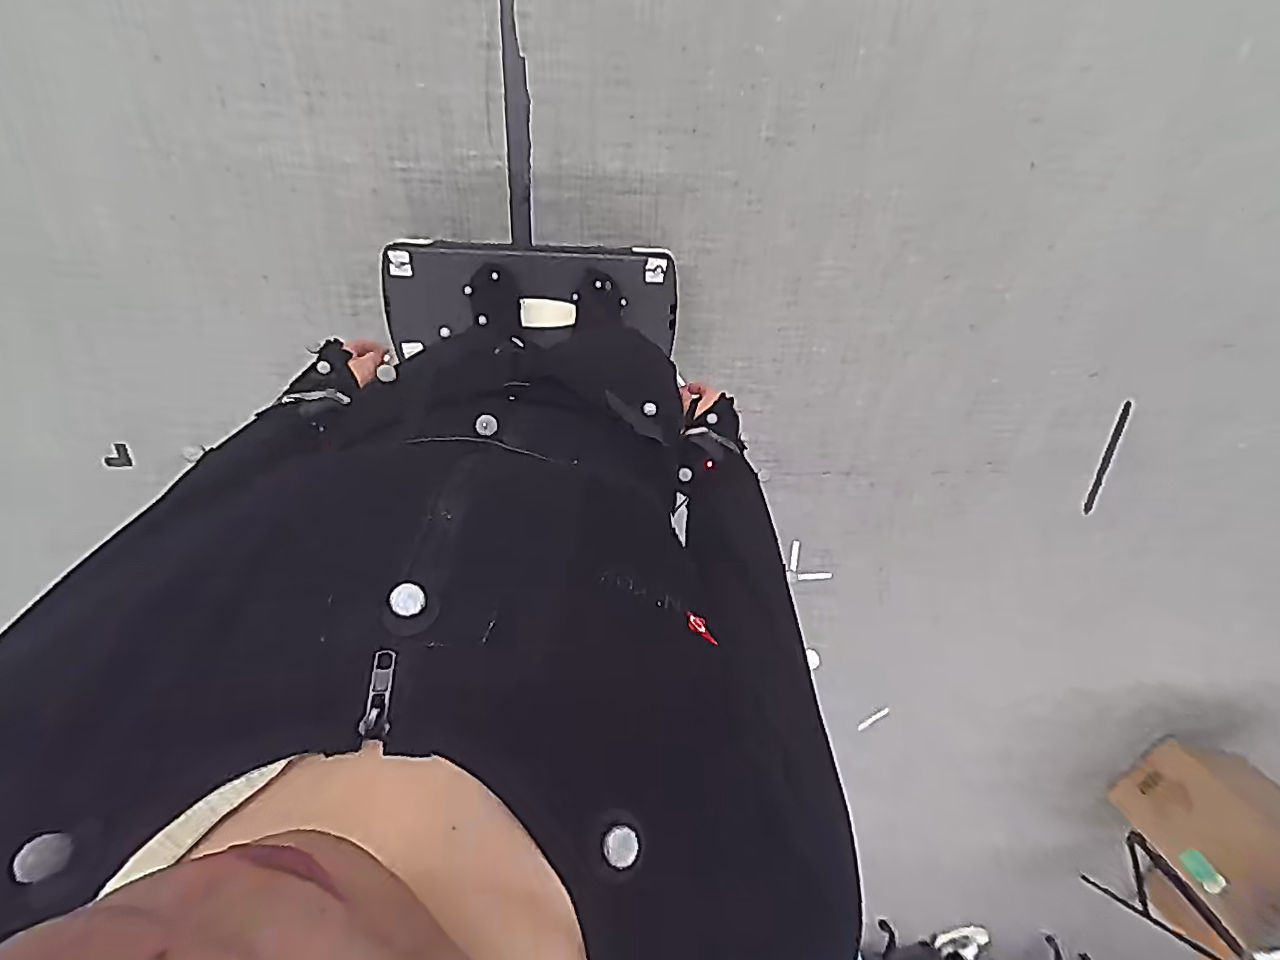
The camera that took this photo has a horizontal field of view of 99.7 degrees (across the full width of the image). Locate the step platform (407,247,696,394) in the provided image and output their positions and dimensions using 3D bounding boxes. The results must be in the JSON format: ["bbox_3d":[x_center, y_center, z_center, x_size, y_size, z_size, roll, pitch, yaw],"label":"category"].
[{"bbox_3d":[-0.207,-0.390,1.339,0.684,0.204,0.286,4,113,-7],"label":"step platform"}]
